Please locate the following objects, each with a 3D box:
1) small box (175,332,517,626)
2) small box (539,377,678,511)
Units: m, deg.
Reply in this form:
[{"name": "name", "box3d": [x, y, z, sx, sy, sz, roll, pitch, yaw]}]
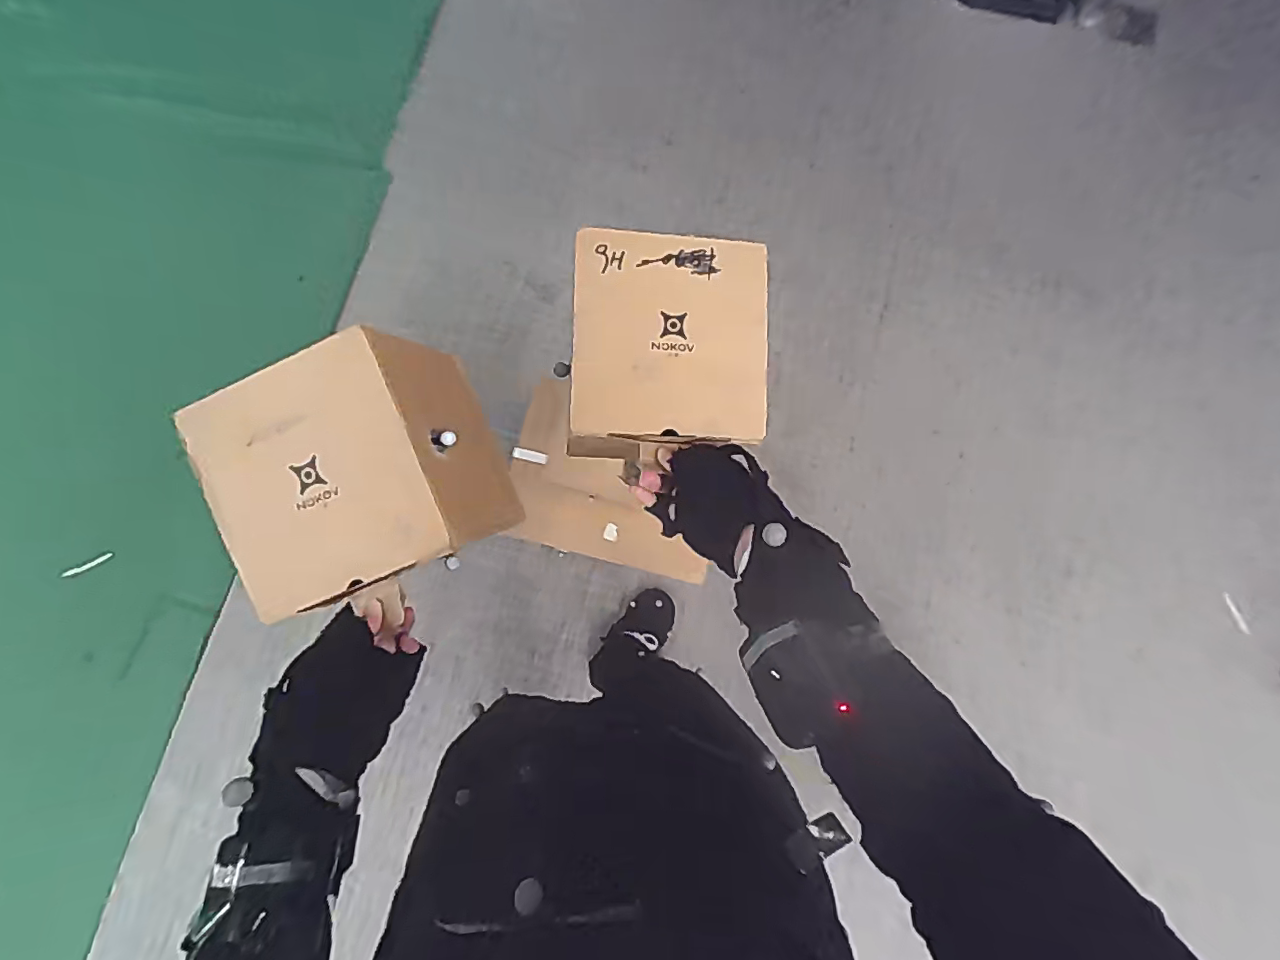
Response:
[{"name": "small box", "box3d": [-0.232, -0.003, 0.475, 0.168, 0.176, 0.179, -24, 90, 7]}, {"name": "small box", "box3d": [-0.049, -0.054, 0.930, 0.179, 0.176, 0.168, 22, 86, 2]}]
